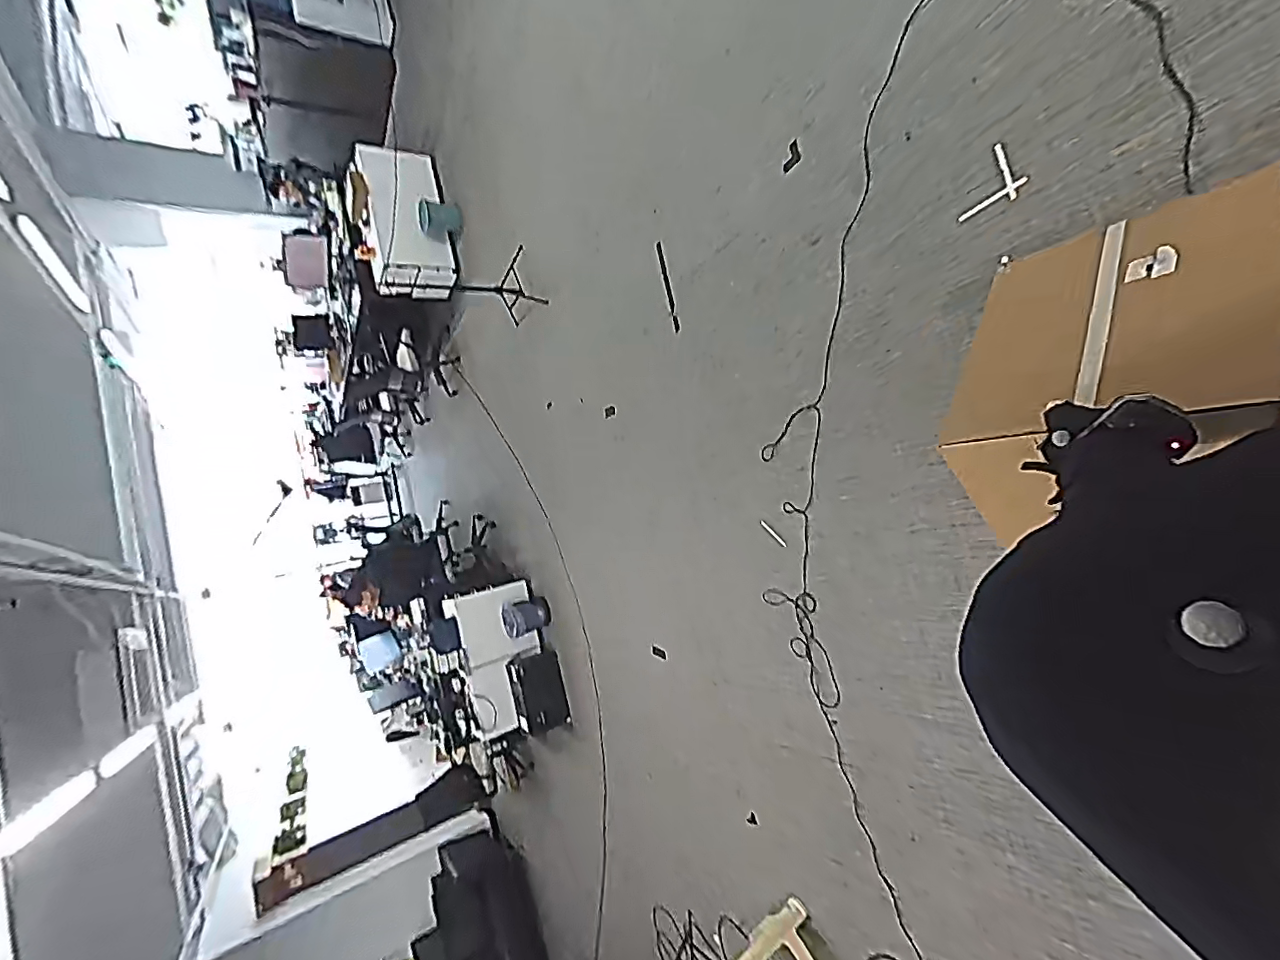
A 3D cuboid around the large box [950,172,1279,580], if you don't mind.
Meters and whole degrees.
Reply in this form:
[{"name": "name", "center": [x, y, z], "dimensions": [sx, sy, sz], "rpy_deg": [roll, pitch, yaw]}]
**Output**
[{"name": "large box", "center": [0.693, -0.114, 0.747], "dimensions": [0.320, 0.408, 0.320], "rpy_deg": [45, 152, -24]}]
